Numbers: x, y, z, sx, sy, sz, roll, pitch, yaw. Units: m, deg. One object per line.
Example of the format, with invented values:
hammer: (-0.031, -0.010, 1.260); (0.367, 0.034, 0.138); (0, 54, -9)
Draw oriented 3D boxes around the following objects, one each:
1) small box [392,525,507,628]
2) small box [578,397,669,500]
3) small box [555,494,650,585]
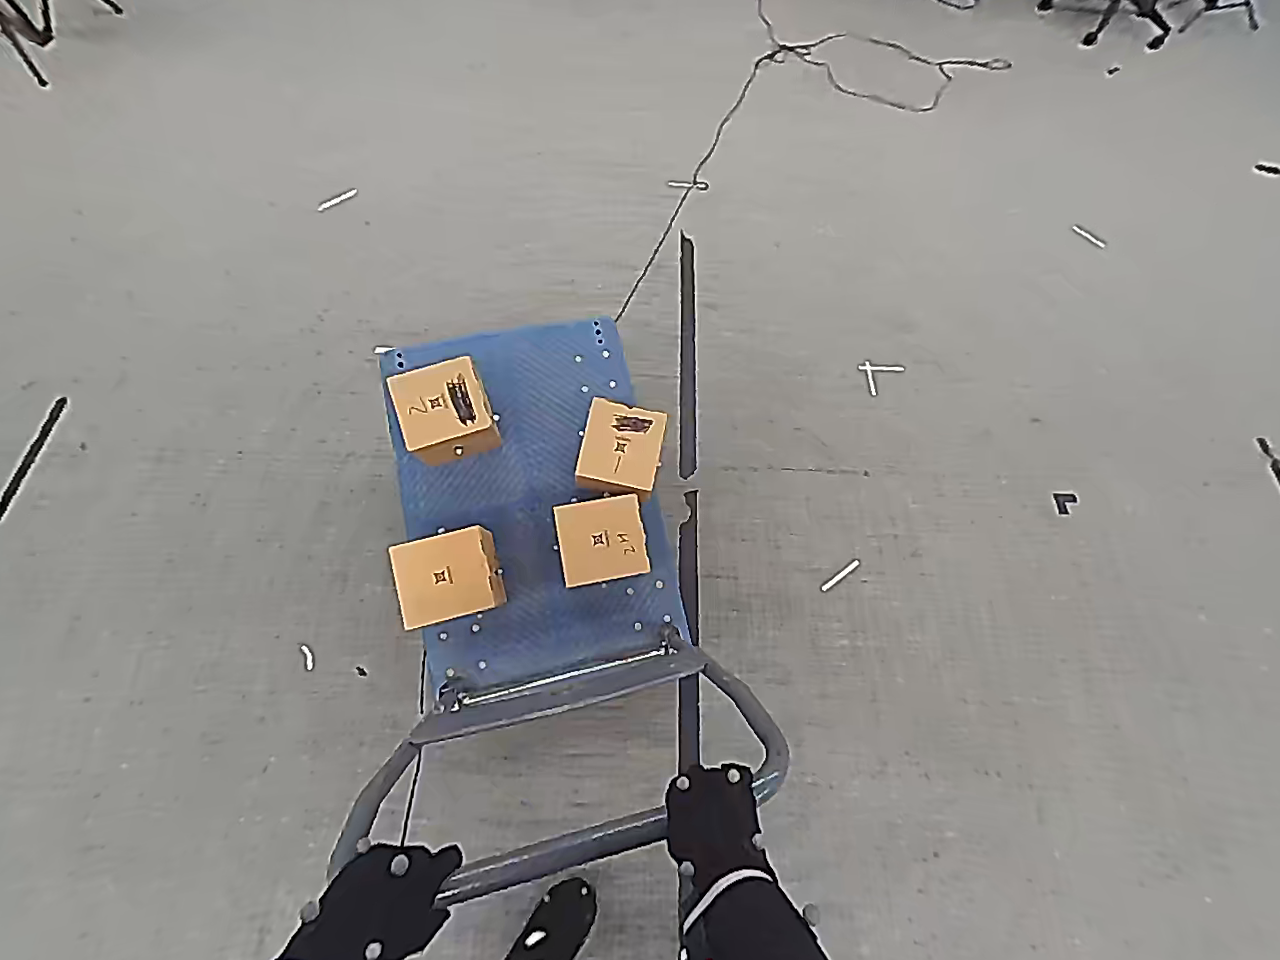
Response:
small box: (-0.388, 0.202, 1.128); (0.179, 0.176, 0.168); (-14, 81, -10)
small box: (-0.043, -0.063, 1.214); (0.168, 0.176, 0.179); (13, 79, -3)
small box: (-0.083, 0.133, 1.173); (0.179, 0.176, 0.168); (-9, 81, -8)
